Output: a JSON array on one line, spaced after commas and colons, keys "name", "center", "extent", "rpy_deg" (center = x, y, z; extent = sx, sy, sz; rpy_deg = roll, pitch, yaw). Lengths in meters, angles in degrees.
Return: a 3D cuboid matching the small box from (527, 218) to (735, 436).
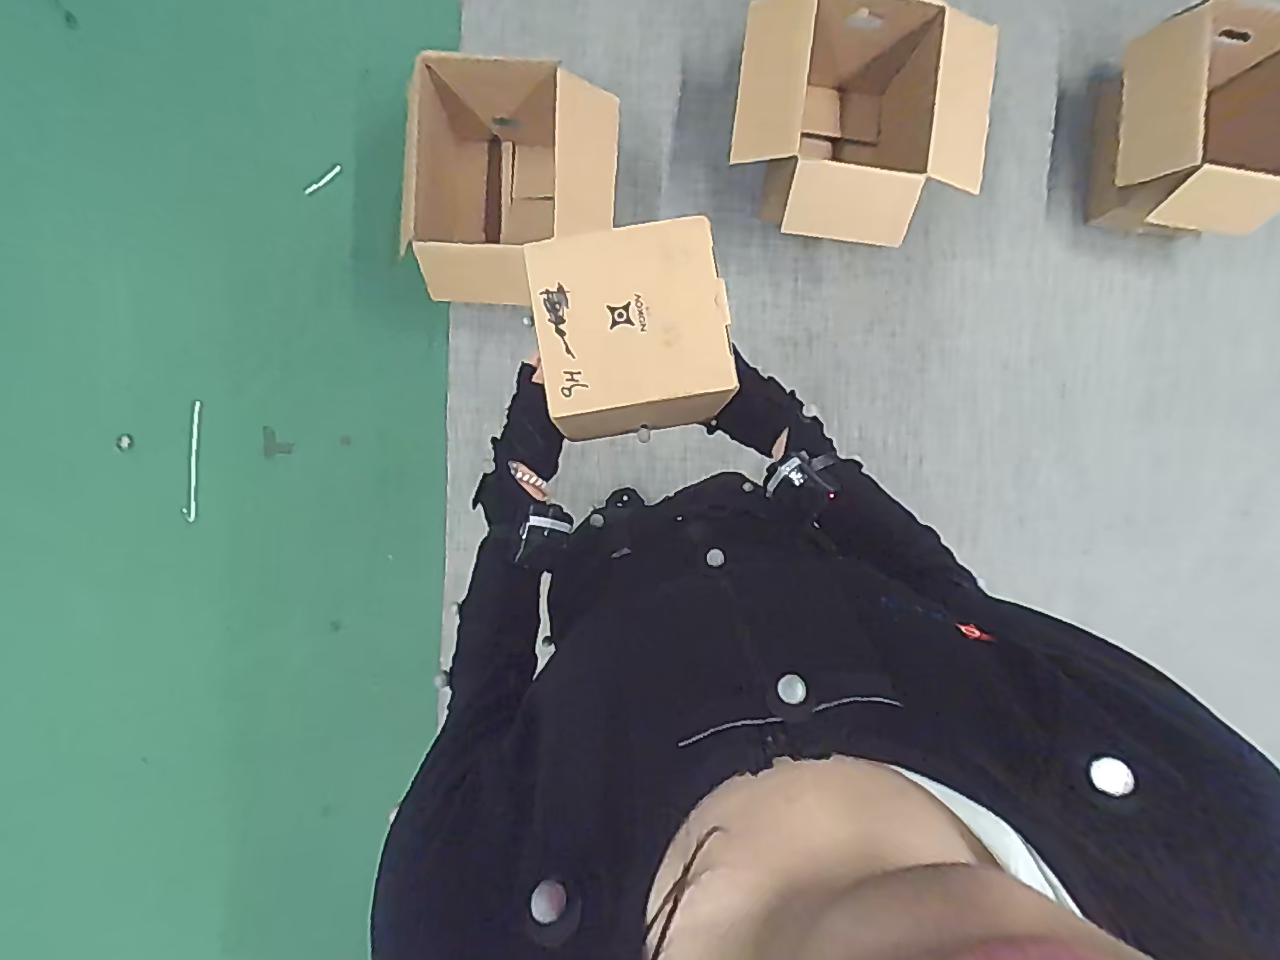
[{"name": "small box", "center": [-0.012, -0.148, 0.576], "extent": [0.179, 0.176, 0.168], "rpy_deg": [-8, 86, -2]}]
